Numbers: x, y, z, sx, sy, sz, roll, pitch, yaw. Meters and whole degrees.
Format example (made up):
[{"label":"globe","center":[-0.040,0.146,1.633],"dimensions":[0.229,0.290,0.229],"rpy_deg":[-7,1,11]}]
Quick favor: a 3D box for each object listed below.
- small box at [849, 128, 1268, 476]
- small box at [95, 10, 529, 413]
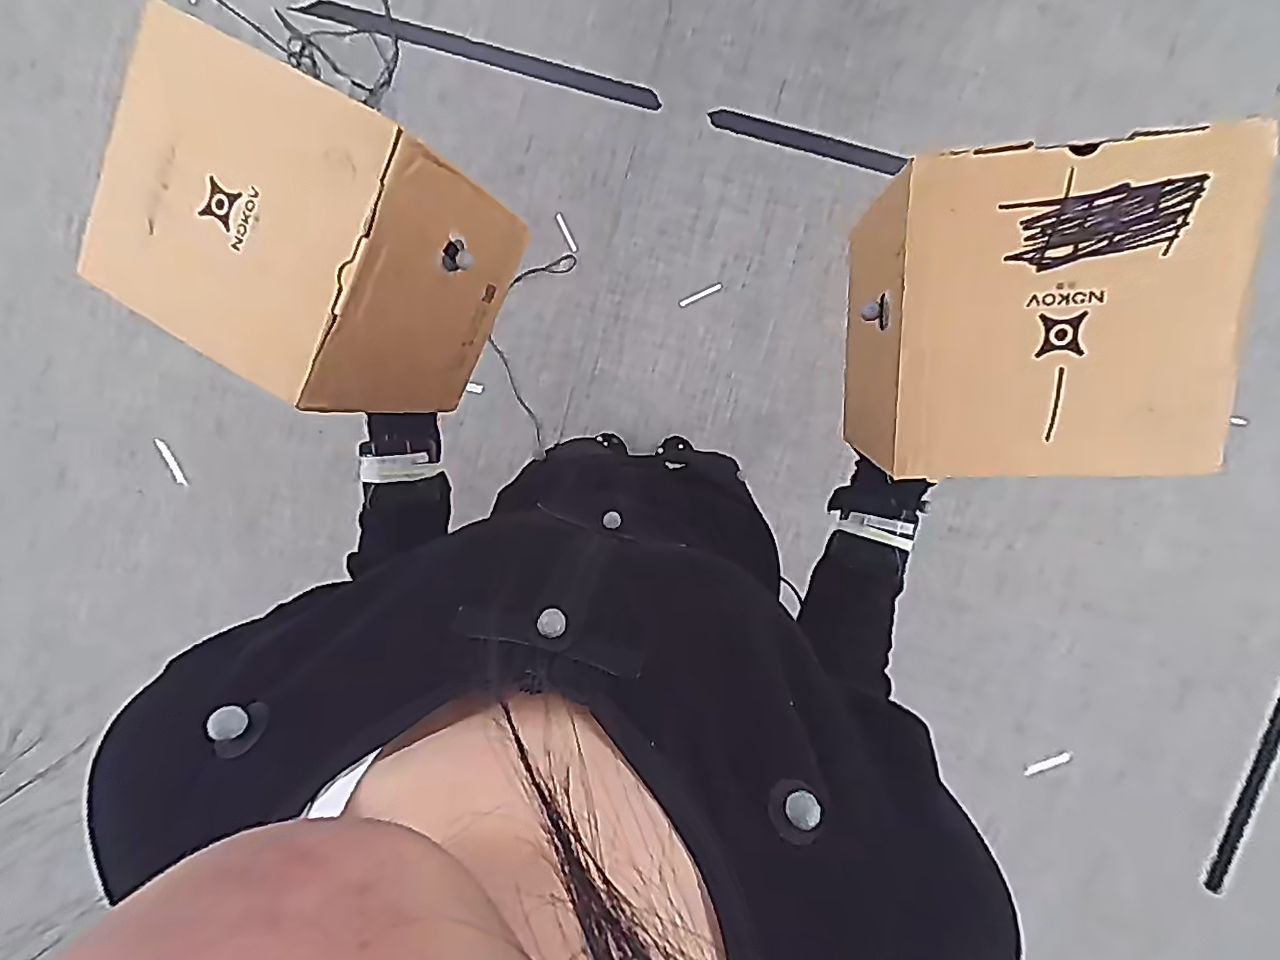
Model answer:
[{"label":"small box","center":[0.245,-0.102,0.371],"dimensions":[0.168,0.176,0.179],"rpy_deg":[-1,102,11]},{"label":"small box","center":[-0.207,-0.160,0.384],"dimensions":[0.179,0.176,0.168],"rpy_deg":[29,101,8]}]
